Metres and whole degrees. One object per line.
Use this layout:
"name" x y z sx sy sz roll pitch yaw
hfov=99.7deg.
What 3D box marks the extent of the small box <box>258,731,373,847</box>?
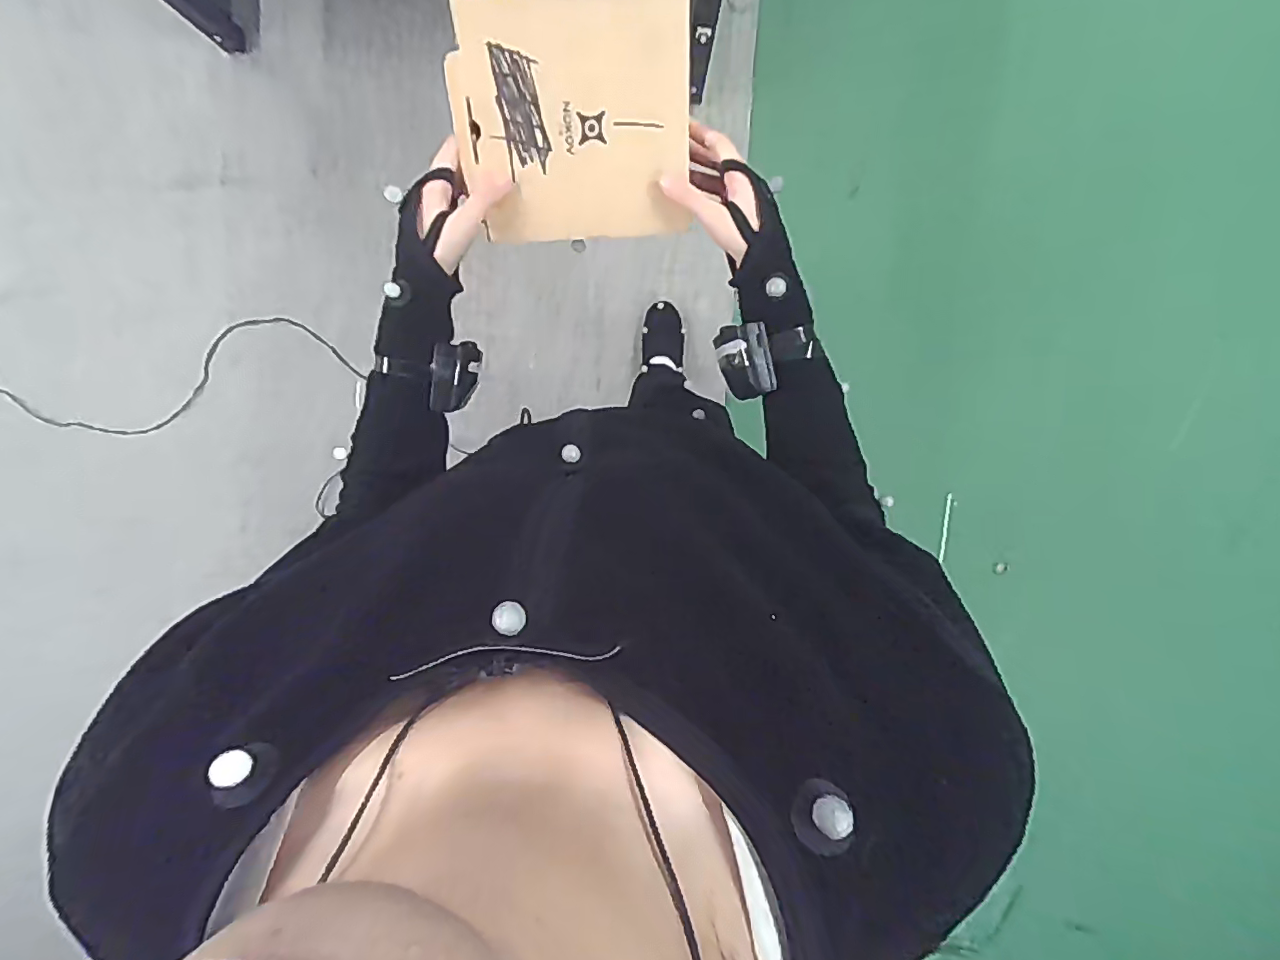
"small box" -0.778 0.746 1.316 0.168 0.176 0.179 -7 98 0
